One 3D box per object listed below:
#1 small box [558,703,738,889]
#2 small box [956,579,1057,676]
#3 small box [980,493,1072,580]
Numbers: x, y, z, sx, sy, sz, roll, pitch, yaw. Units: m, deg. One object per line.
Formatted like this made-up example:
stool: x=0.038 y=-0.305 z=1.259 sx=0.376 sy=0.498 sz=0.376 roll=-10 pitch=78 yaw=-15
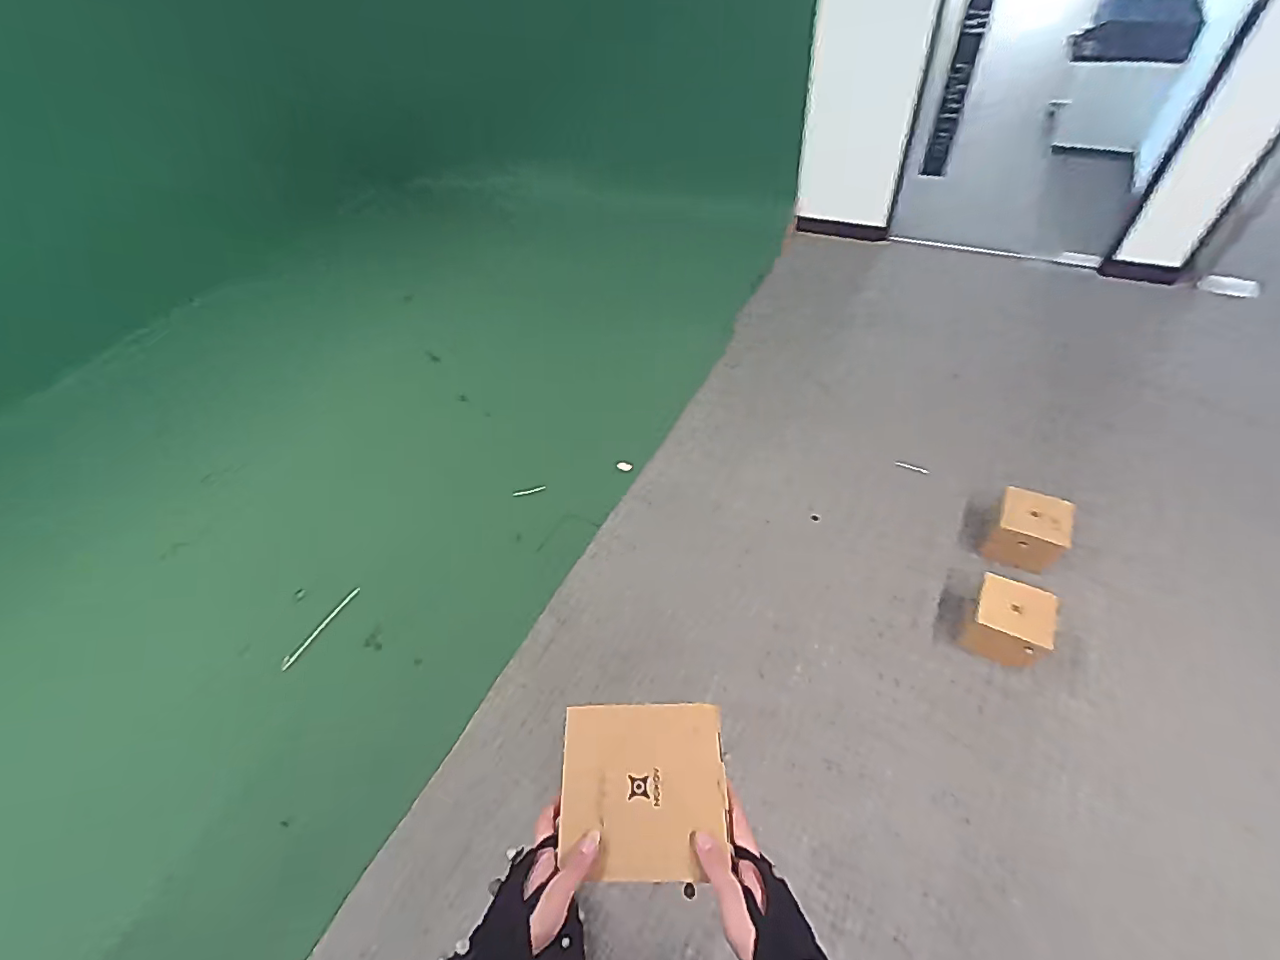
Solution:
small box: x=0.014 y=0.366 z=0.629 sx=0.179 sy=0.176 sz=0.168 roll=-2 pitch=54 yaw=5
small box: x=0.991 y=0.405 z=1.470 sx=0.179 sy=0.176 sz=0.168 roll=20 pitch=57 yaw=21
small box: x=1.155 y=0.174 z=1.628 sx=0.179 sy=0.176 sz=0.168 roll=20 pitch=57 yaw=22
